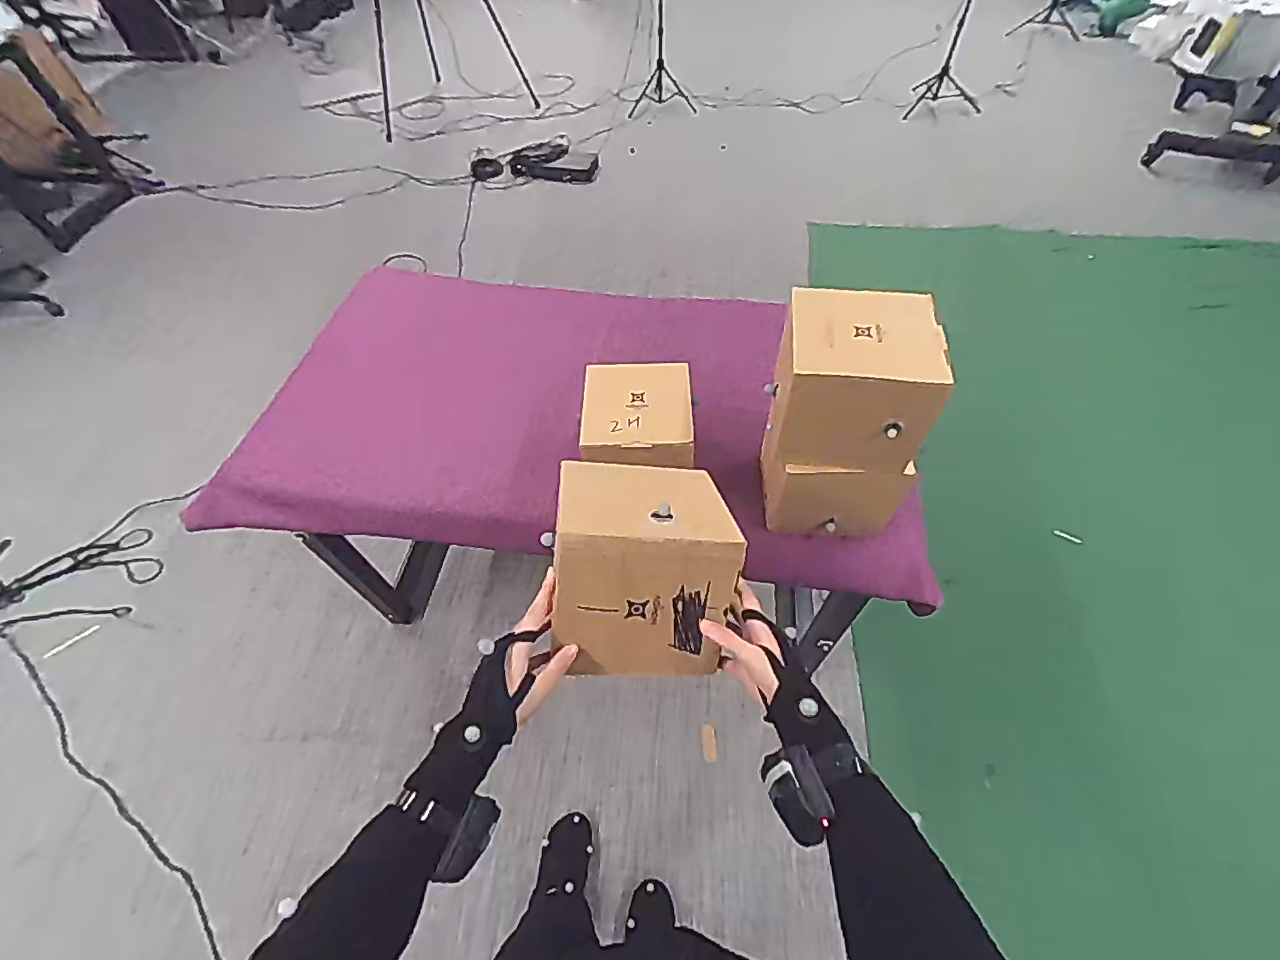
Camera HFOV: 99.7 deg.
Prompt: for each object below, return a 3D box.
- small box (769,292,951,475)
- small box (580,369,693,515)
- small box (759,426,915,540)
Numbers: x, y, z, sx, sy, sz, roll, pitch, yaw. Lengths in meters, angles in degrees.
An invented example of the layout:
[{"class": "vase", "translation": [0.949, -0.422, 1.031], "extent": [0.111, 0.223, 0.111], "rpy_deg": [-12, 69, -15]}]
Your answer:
[{"class": "small box", "translation": [0.273, -0.122, 0.711], "extent": [0.179, 0.176, 0.168], "rpy_deg": [6, 54, 8]}, {"class": "small box", "translation": [-0.001, -0.061, 0.882], "extent": [0.168, 0.176, 0.179], "rpy_deg": [-1, 53, 2]}, {"class": "small box", "translation": [0.289, -0.018, 0.836], "extent": [0.179, 0.176, 0.168], "rpy_deg": [2, 53, 3]}]
